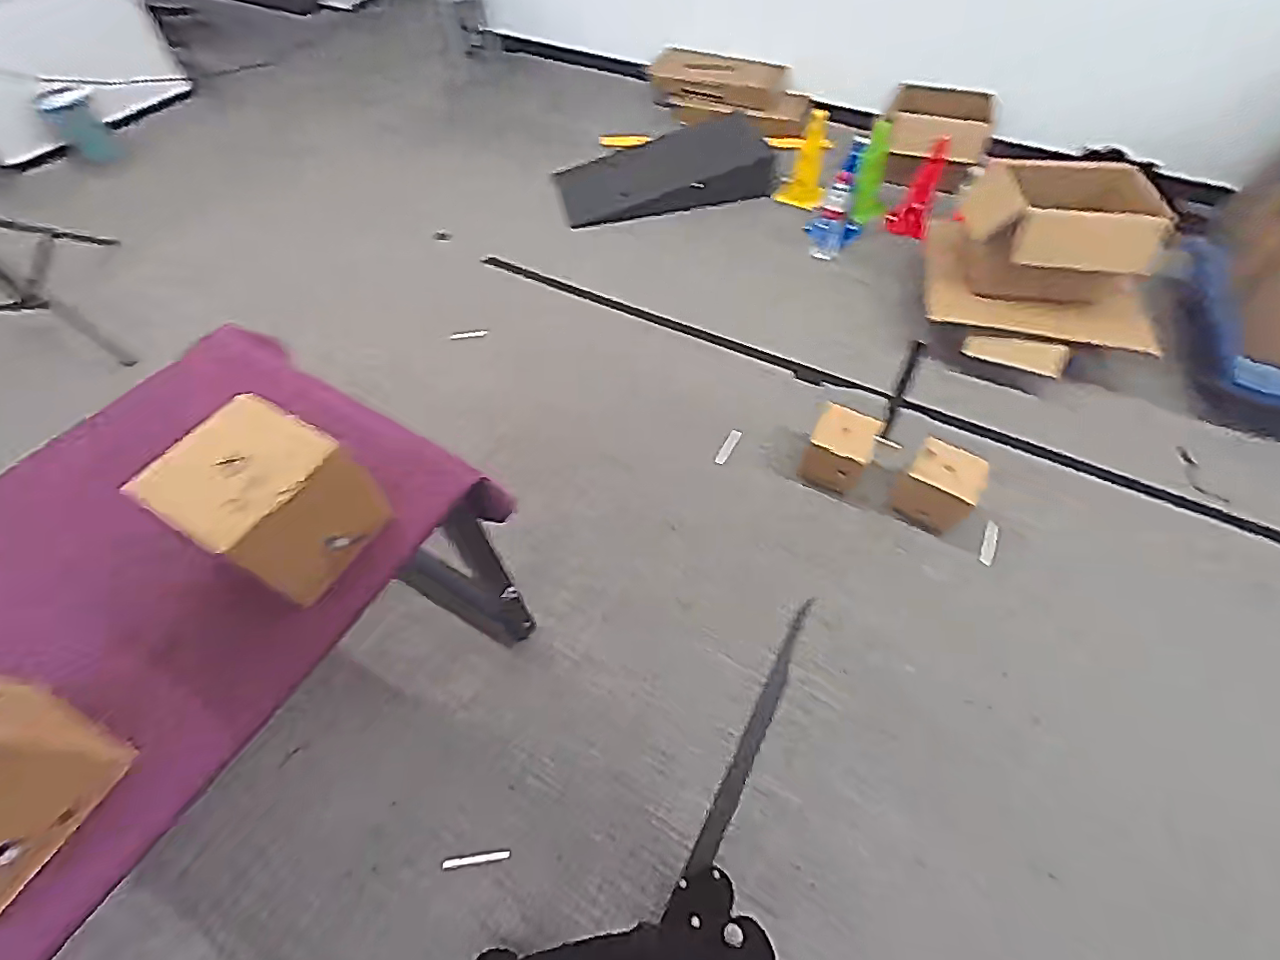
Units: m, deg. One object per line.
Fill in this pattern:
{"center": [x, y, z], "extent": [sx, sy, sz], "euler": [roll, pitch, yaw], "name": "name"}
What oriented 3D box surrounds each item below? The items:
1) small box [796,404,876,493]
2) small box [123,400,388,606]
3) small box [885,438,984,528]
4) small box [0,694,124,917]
{"center": [0.589, -0.091, 1.644], "extent": [0.168, 0.176, 0.179], "euler": [24, 59, 14], "name": "small box"}
{"center": [-0.466, 0.035, 0.685], "extent": [0.179, 0.176, 0.168], "euler": [24, 61, 16], "name": "small box"}
{"center": [0.850, 0.017, 1.571], "extent": [0.179, 0.176, 0.168], "euler": [29, 62, 17], "name": "small box"}
{"center": [-0.673, 0.304, 0.510], "extent": [0.179, 0.176, 0.168], "euler": [21, 59, 13], "name": "small box"}
